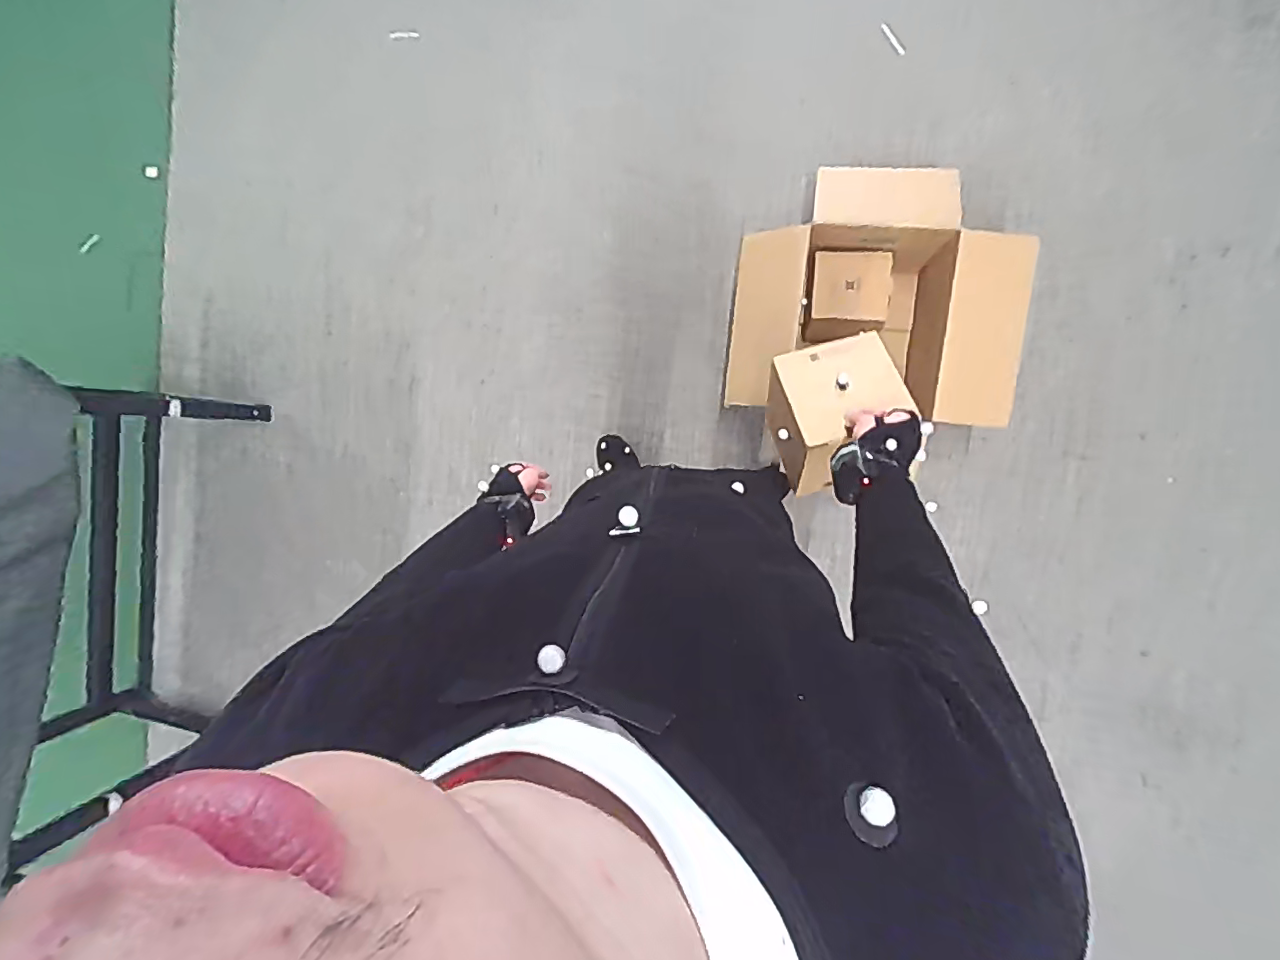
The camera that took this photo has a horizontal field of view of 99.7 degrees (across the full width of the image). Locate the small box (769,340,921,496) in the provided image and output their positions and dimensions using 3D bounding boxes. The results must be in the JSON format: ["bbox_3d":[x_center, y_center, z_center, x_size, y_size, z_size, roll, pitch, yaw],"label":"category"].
[{"bbox_3d":[0.314,-0.102,0.869,0.168,0.179,0.176,-17,62,4],"label":"small box"}]
